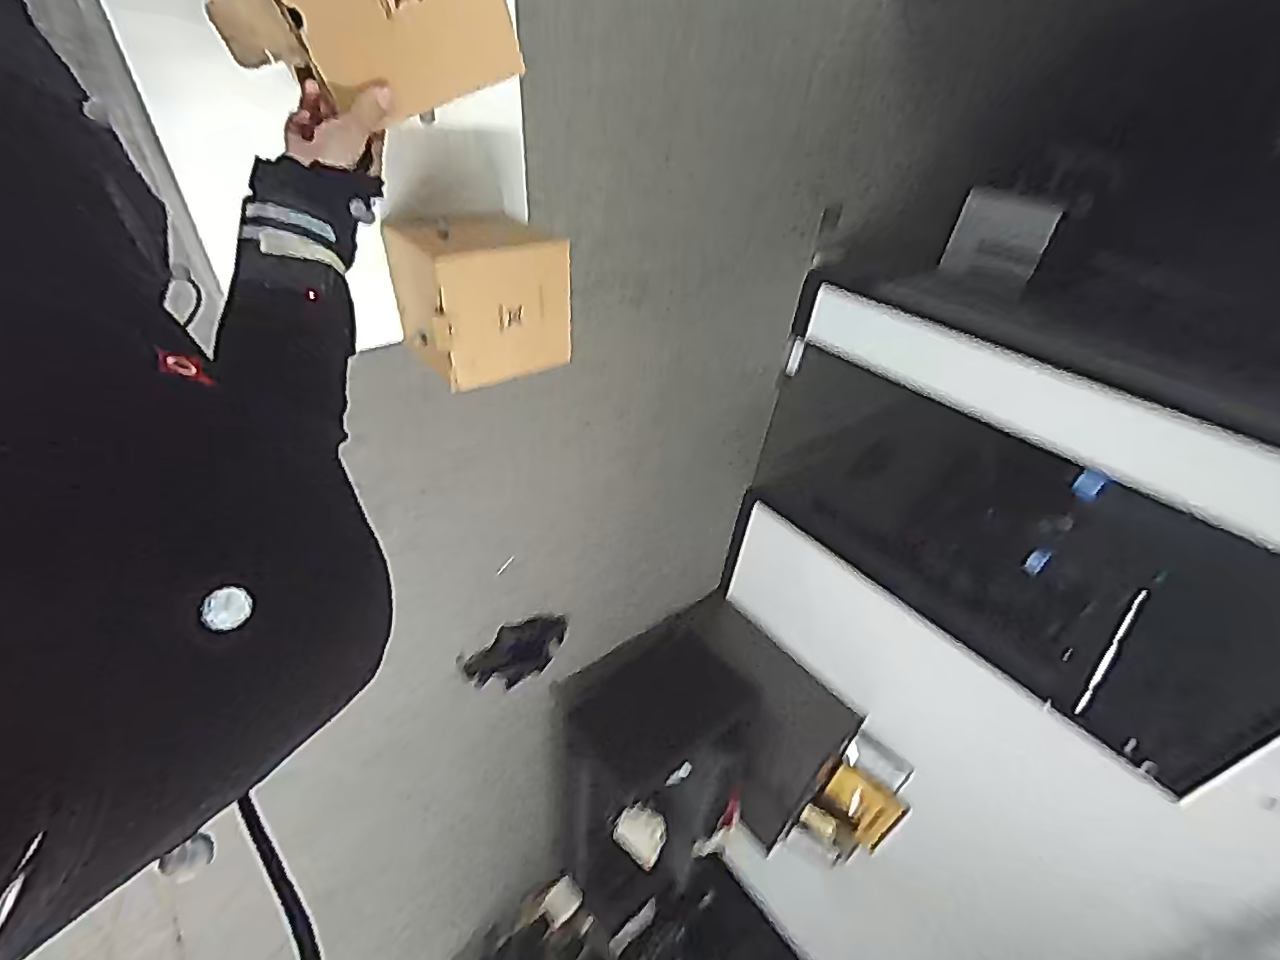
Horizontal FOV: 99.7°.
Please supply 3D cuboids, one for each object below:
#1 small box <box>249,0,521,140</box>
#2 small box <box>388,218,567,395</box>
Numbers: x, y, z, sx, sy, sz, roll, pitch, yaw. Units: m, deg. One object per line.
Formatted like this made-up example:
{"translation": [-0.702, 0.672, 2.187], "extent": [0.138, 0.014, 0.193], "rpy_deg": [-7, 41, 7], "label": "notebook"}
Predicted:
{"translation": [-0.237, -0.430, 0.469], "extent": [0.179, 0.176, 0.168], "rpy_deg": [-33, 141, -15], "label": "small box"}
{"translation": [-0.216, -0.239, 0.722], "extent": [0.179, 0.176, 0.168], "rpy_deg": [-25, 138, -33], "label": "small box"}
